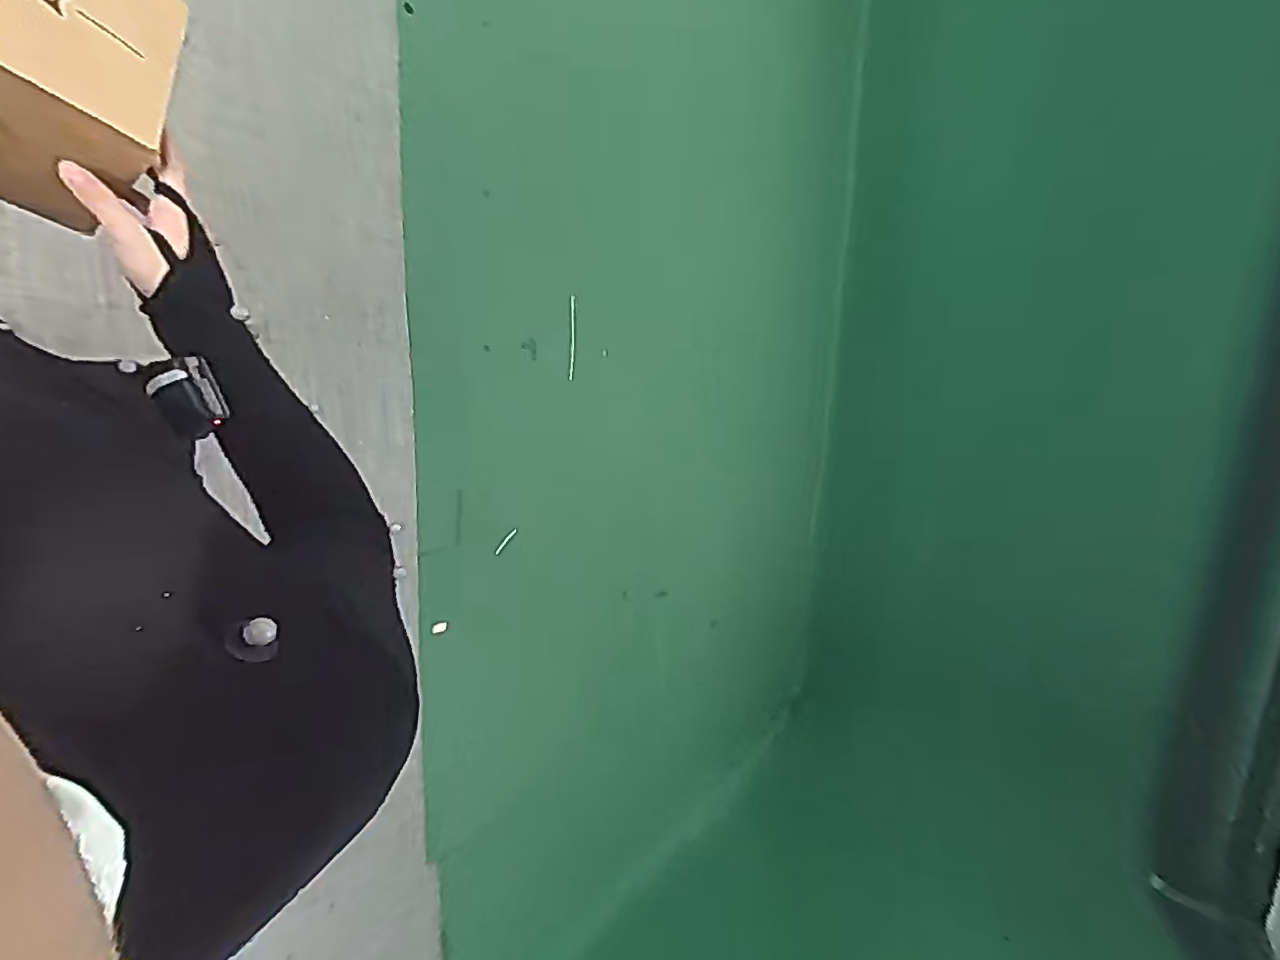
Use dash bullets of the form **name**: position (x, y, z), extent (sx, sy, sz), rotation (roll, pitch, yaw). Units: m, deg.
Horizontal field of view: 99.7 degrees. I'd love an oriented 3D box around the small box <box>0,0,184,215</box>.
- **small box**: position (-0.511, -0.349, 0.425), extent (0.179, 0.176, 0.168), rotation (21, 62, -55)
